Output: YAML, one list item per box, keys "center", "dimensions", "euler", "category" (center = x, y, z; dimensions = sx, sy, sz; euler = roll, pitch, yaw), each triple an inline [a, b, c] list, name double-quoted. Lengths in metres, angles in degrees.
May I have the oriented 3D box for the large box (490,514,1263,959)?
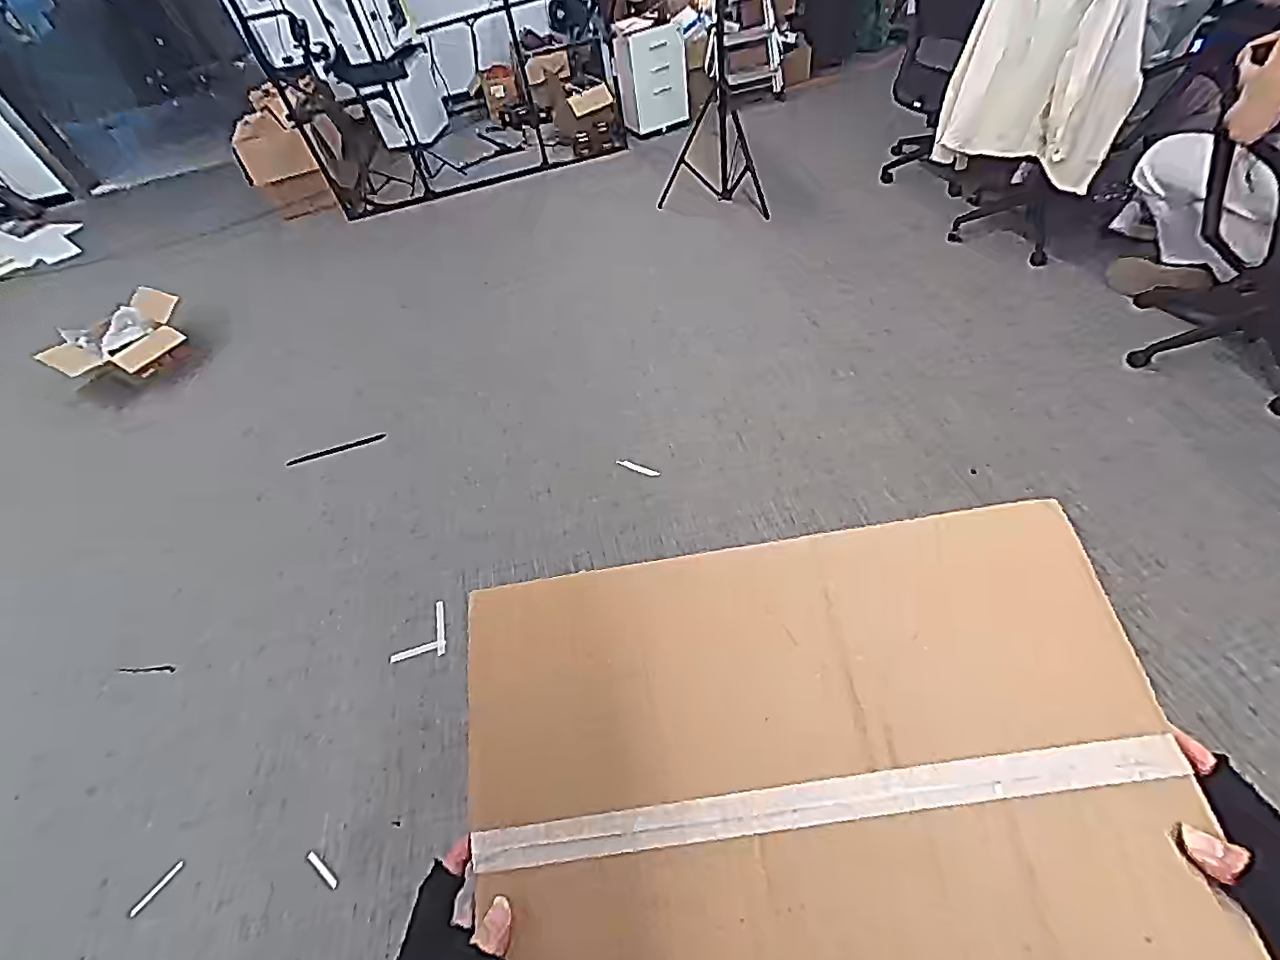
- center: [0.123, 0.254, 0.455]
  dimensions: [0.408, 0.320, 0.320]
  euler: [-10, 67, 3]
  category: "large box"
